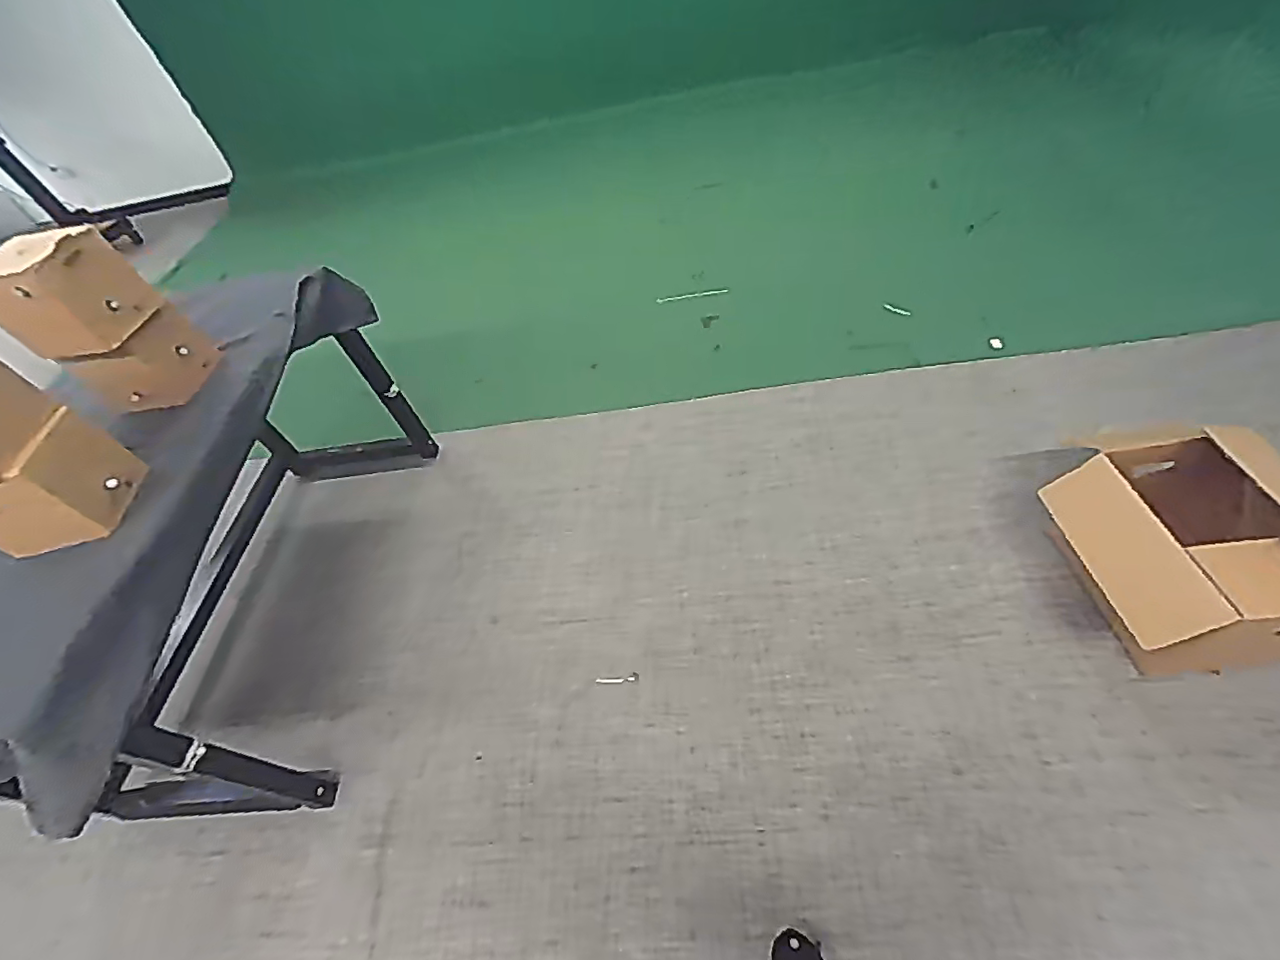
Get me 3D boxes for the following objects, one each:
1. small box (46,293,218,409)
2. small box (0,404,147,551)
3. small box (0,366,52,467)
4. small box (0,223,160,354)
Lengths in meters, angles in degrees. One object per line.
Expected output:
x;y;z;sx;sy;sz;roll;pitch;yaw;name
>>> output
-1.072;-0.272;1.161;0.179;0.176;0.168;-6;51;7;small box
-1.028;0.001;0.930;0.179;0.176;0.168;-14;50;0;small box
-1.070;-0.100;0.810;0.168;0.176;0.179;-11;49;2;small box
-1.087;-0.354;1.018;0.179;0.176;0.168;-4;51;9;small box
